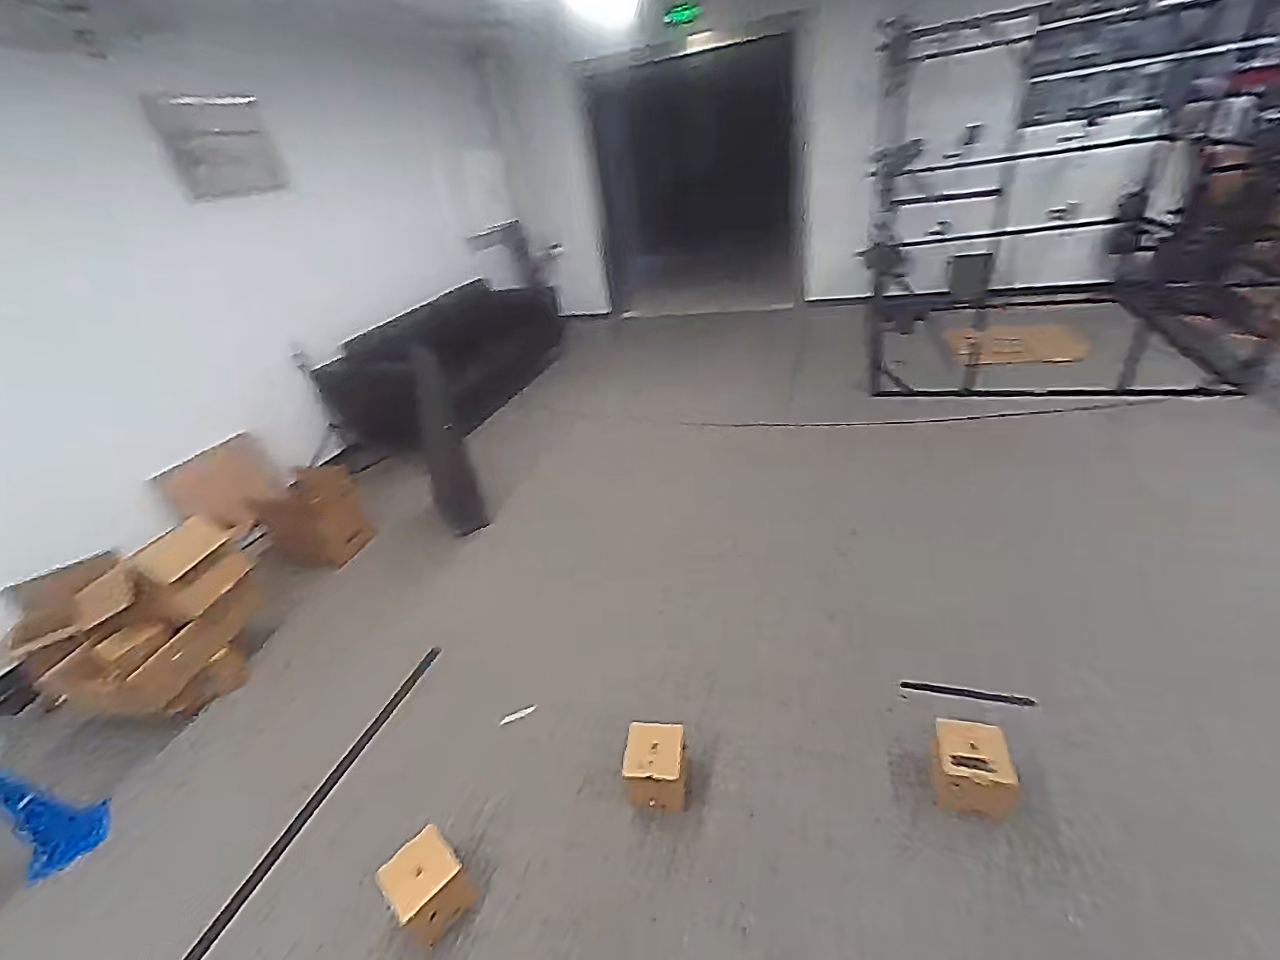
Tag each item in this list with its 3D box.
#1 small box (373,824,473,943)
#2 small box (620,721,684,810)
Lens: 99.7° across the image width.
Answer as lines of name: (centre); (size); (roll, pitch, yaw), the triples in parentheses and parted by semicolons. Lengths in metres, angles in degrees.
small box: (-0.575, 1.087, 1.451); (0.179, 0.176, 0.168); (21, 42, 41)
small box: (0.043, 0.870, 1.650); (0.168, 0.176, 0.179); (-2, 32, 11)
